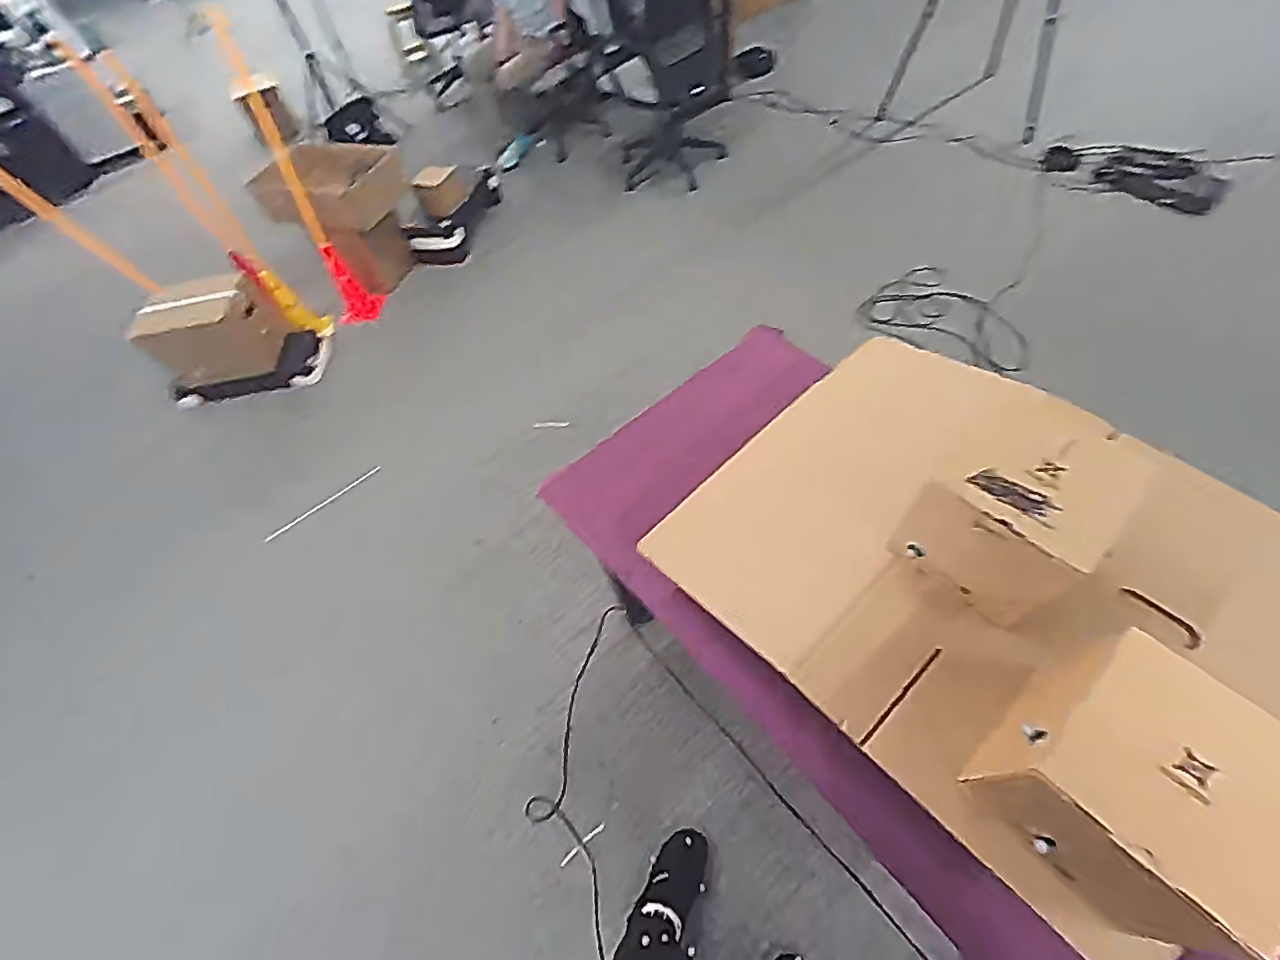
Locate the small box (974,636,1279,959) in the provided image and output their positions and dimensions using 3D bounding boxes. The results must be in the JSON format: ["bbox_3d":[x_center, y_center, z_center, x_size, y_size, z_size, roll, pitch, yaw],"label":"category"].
[{"bbox_3d":[0.450,0.280,0.492,0.179,0.176,0.168,-40,62,-17],"label":"small box"}]

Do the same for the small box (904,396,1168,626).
[{"bbox_3d":[0.444,0.043,0.642,0.179,0.176,0.168,-39,62,-18],"label":"small box"}]
